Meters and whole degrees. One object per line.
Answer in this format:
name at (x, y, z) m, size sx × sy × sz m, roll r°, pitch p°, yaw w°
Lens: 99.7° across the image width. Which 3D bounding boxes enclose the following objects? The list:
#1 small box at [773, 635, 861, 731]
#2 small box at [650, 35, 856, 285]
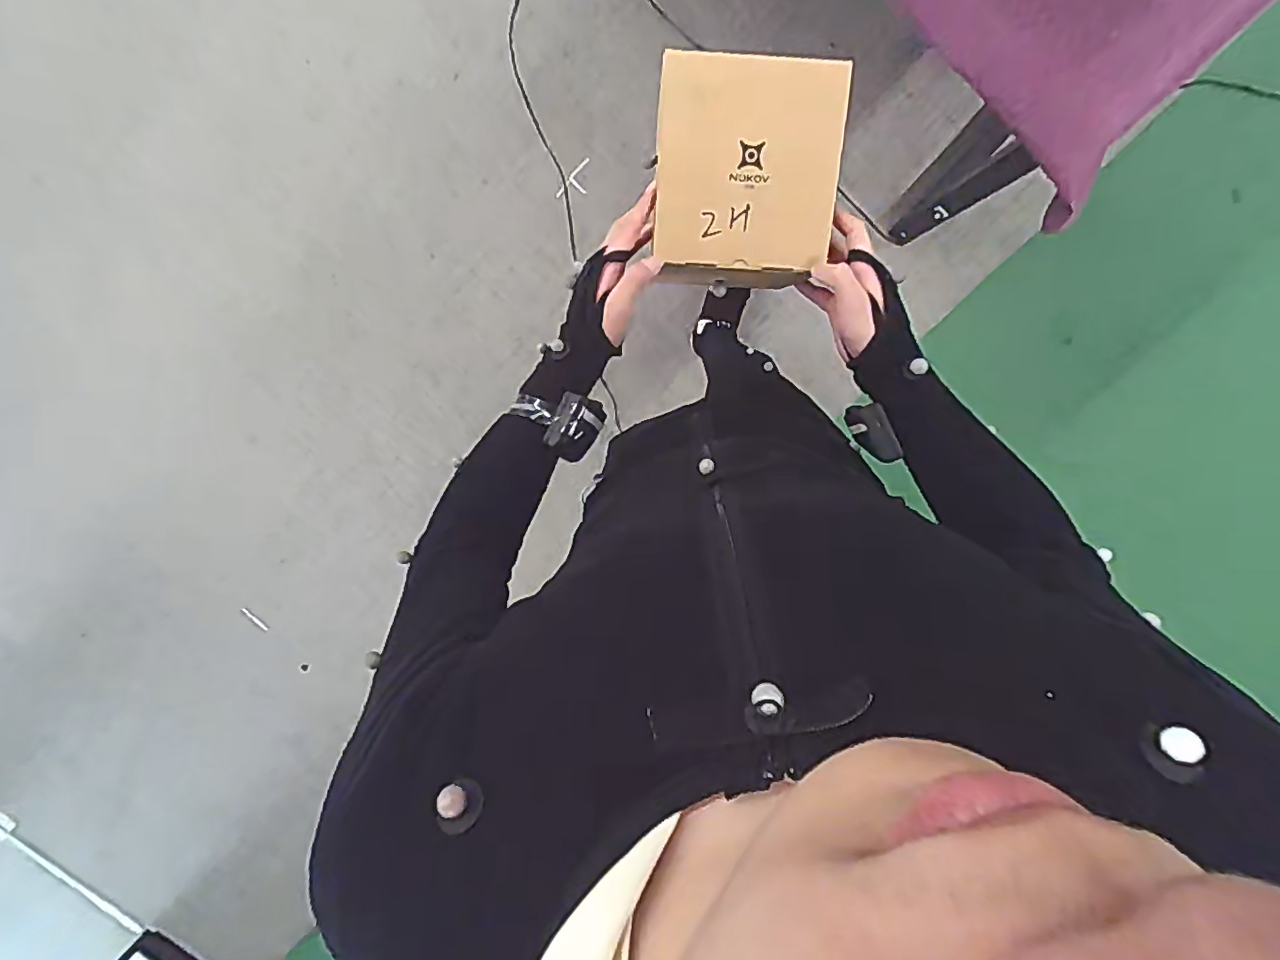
small box at (0.525, 0.604, 1.628) m, size 0.168 × 0.176 × 0.179 m, roll -42°, pitch 95°, yaw 11°
small box at (0.099, -0.308, 0.559) m, size 0.168 × 0.176 × 0.179 m, roll 4°, pitch 105°, yaw -1°
